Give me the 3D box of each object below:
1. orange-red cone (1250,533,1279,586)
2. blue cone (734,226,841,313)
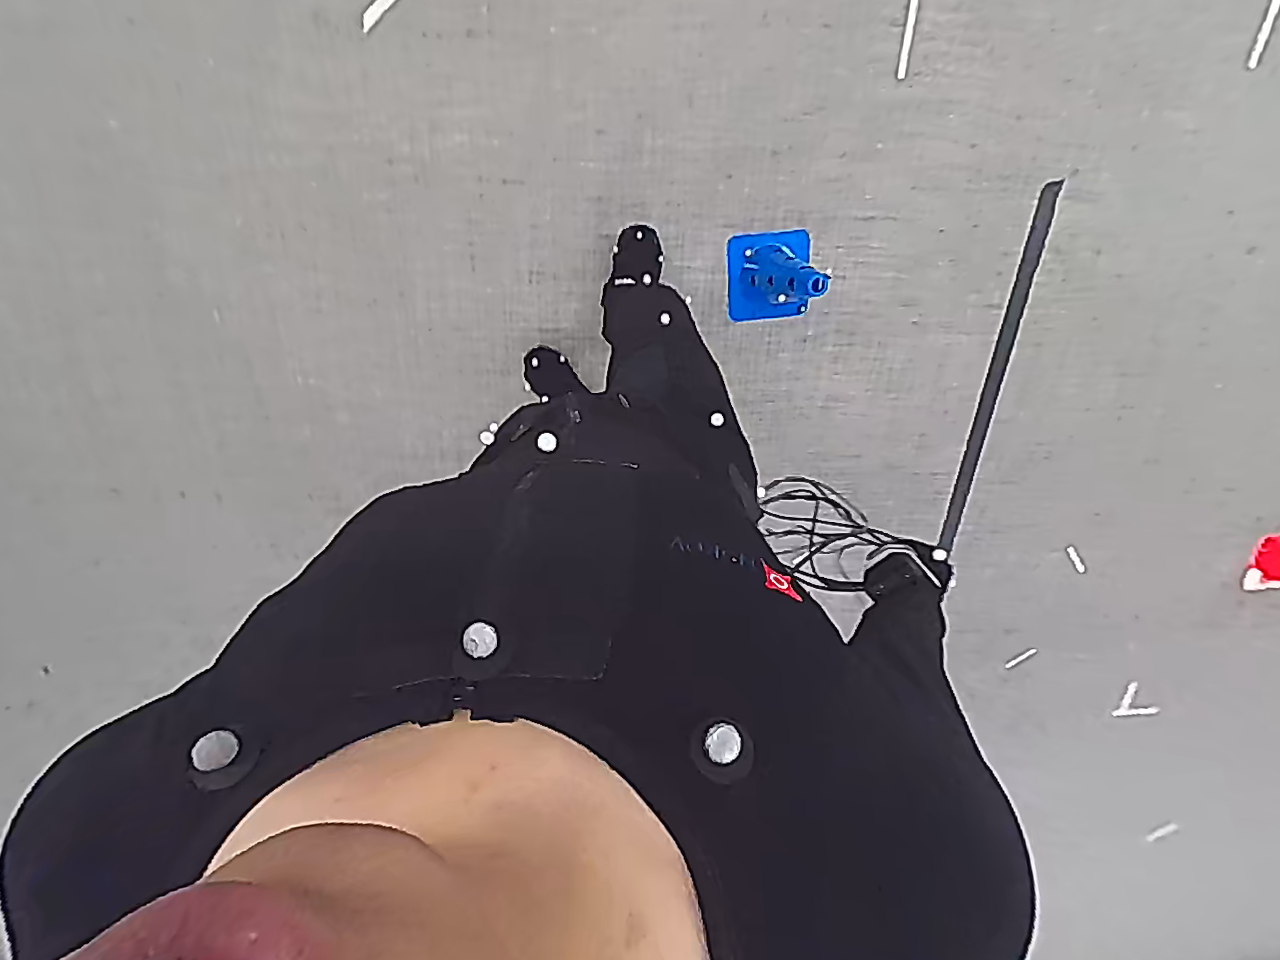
[{"bbox_3d":[2.089,0.316,1.577,0.198,0.360,0.199,-4,112,-2],"label":"orange-red cone"},{"bbox_3d":[0.332,-0.443,1.162,0.192,0.380,0.193,-5,113,-1],"label":"blue cone"}]
